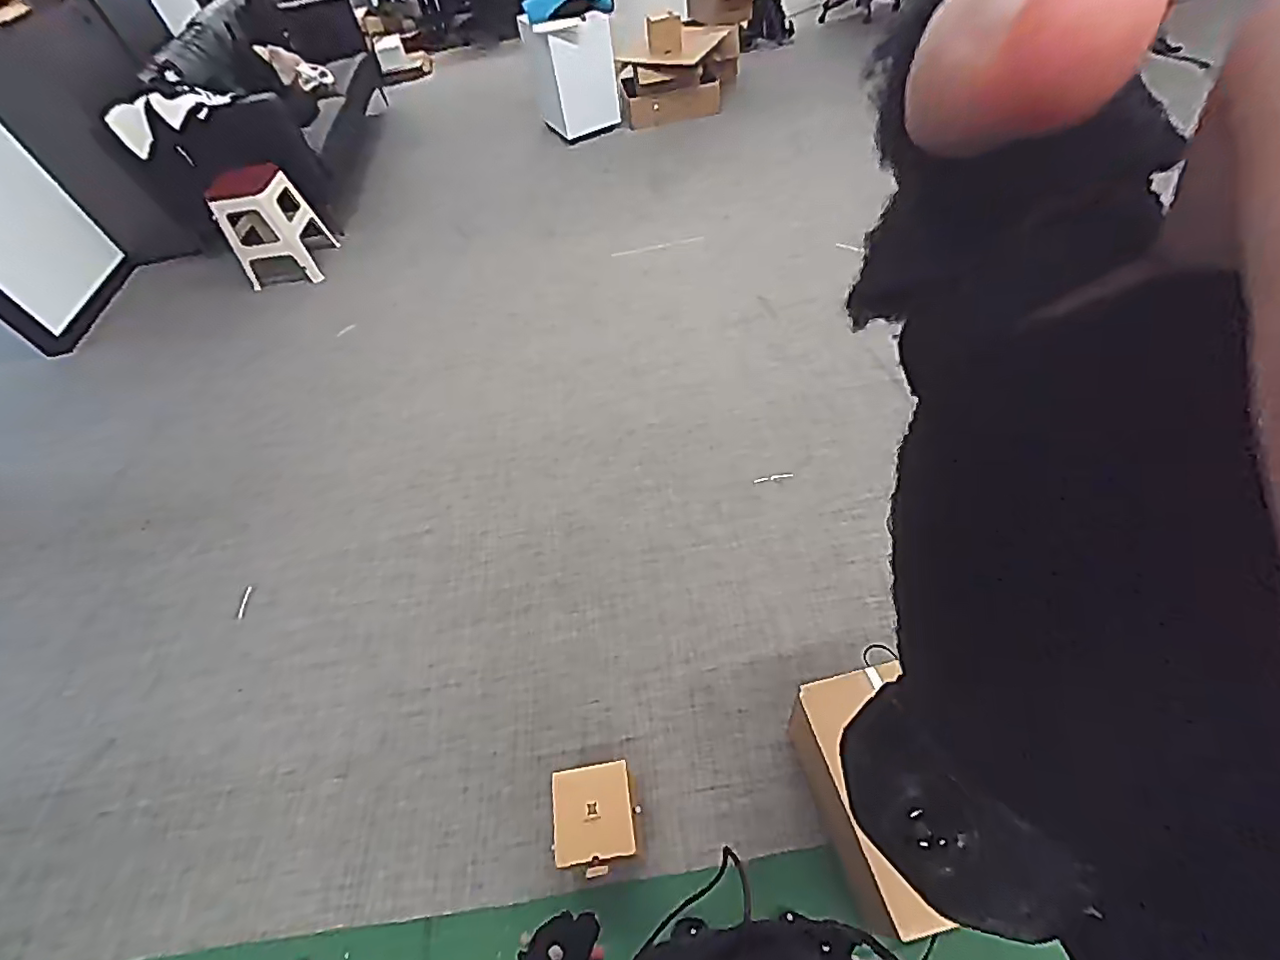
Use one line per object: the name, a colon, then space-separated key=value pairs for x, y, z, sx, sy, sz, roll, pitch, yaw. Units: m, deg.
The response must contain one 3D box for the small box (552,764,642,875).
small box: x=-0.094 y=0.752 z=1.195 sx=0.168 sy=0.176 sz=0.179 roll=-11 pitch=52 yaw=0
